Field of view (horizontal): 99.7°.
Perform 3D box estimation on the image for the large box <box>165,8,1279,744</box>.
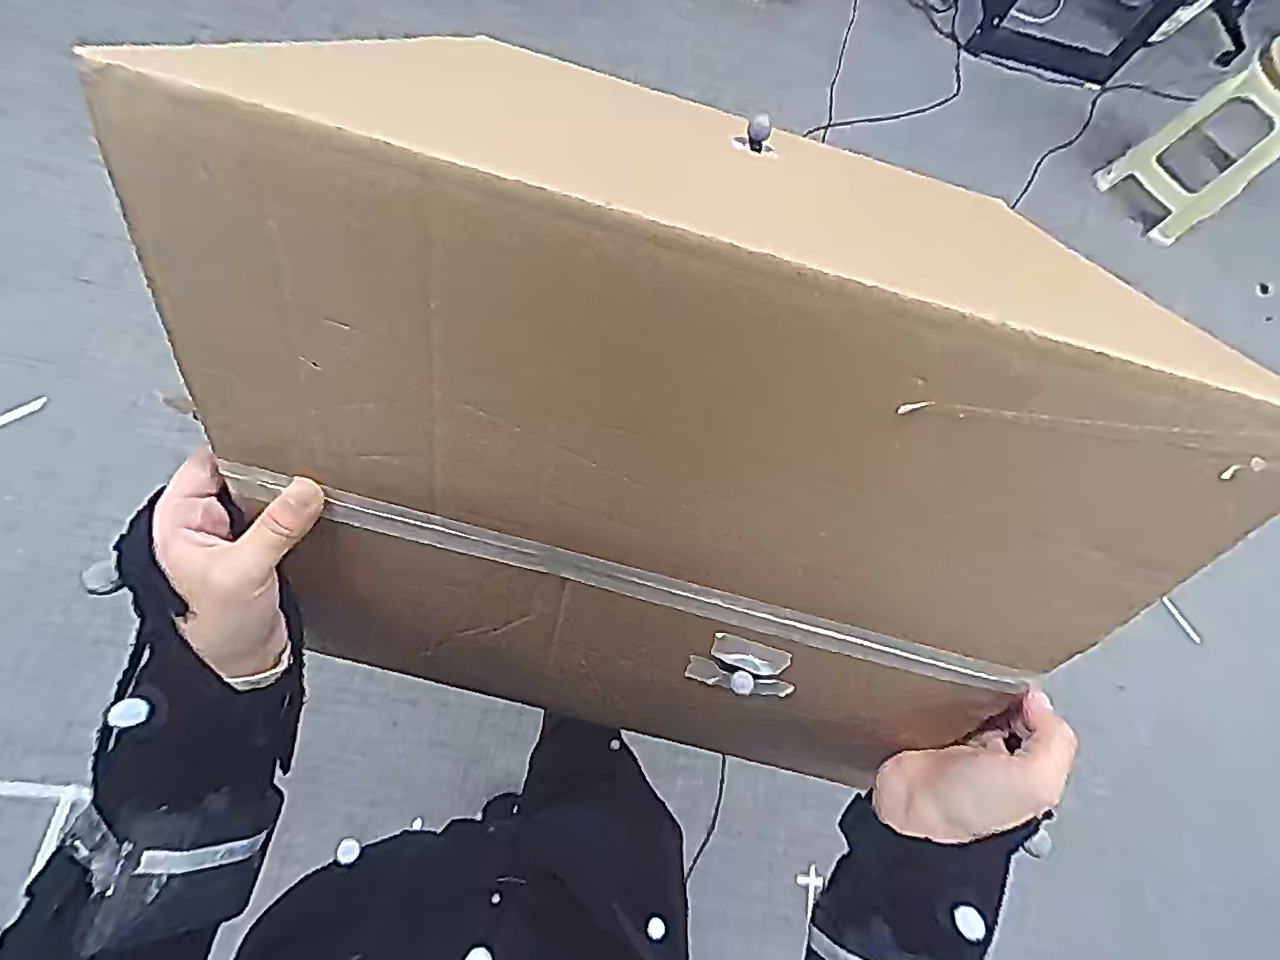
[{"bbox_3d":[0.036,-0.074,0.375,0.408,0.320,0.320,14,41,-3],"label":"large box"}]
